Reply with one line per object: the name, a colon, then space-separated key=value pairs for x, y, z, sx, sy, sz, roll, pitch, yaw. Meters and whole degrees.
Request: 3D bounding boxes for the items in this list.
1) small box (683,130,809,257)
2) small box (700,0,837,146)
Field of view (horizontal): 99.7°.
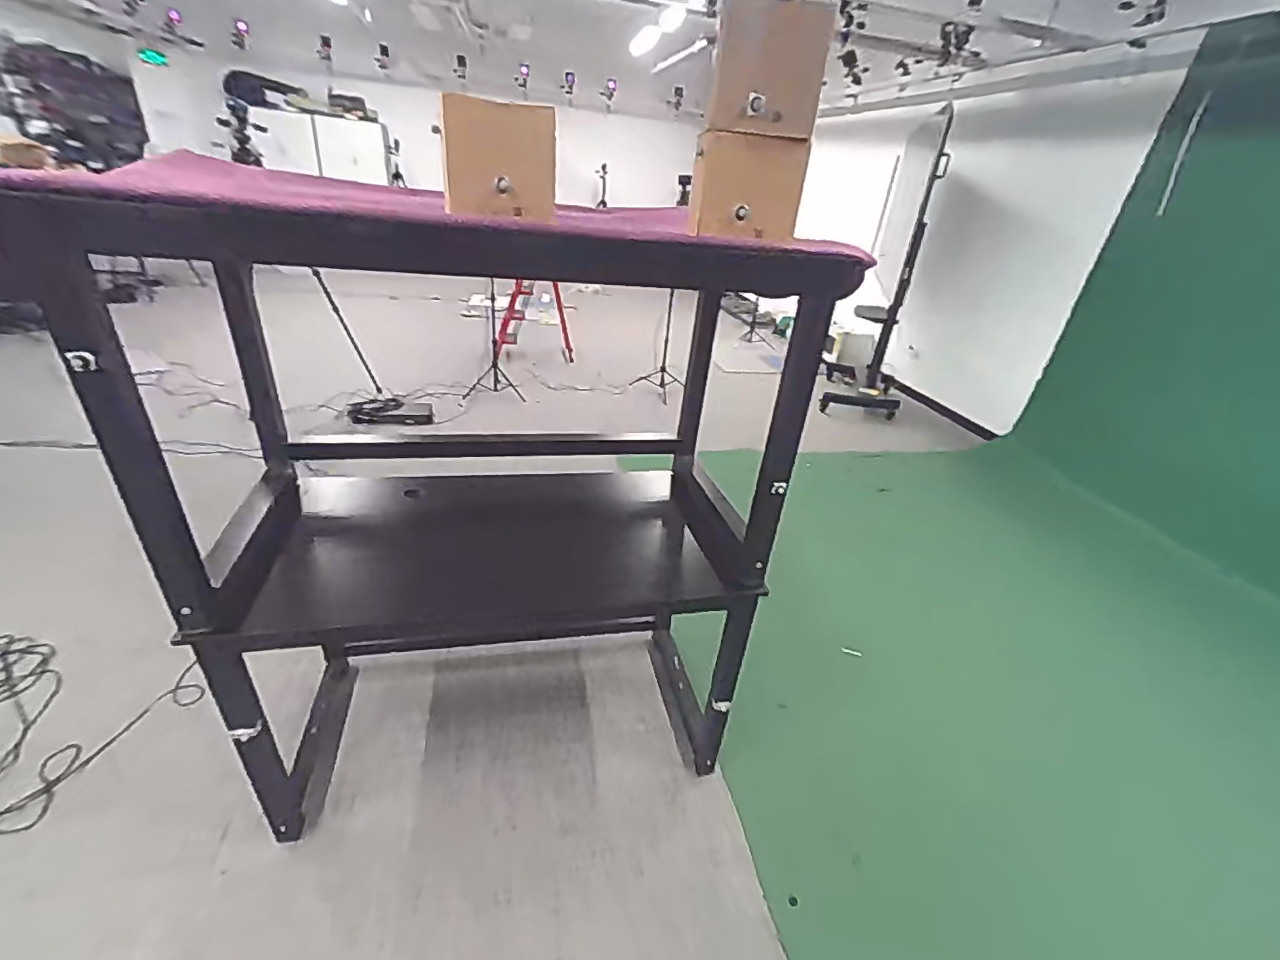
small box: x=0.174 y=-0.502 z=0.952 sx=0.168 sy=0.176 sz=0.179 roll=3 pitch=31 yaw=-5
small box: x=0.190 y=-0.638 z=0.865 sx=0.168 sy=0.176 sz=0.179 roll=4 pitch=31 yaw=-1
